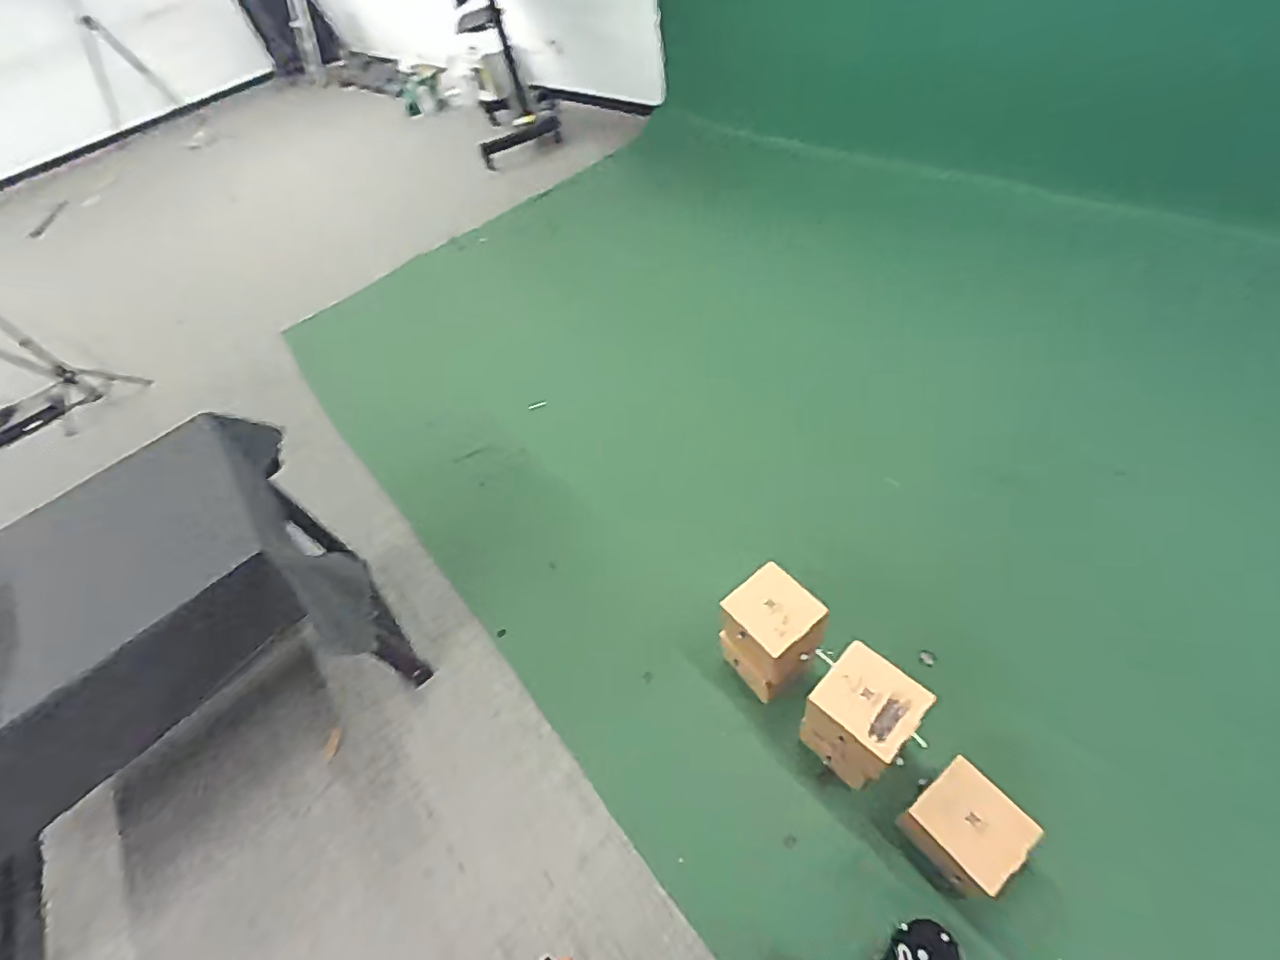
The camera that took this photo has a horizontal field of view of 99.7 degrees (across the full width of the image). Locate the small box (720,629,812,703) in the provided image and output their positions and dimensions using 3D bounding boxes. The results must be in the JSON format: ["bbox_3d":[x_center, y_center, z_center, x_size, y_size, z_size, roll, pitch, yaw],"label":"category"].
[{"bbox_3d":[0.330,0.441,1.393,0.179,0.176,0.168,-34,51,-15],"label":"small box"}]

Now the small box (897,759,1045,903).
[{"bbox_3d":[0.655,0.710,1.095,0.168,0.176,0.179,-35,52,-15],"label":"small box"}]

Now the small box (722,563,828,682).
[{"bbox_3d":[0.312,0.337,1.266,0.168,0.176,0.179,-35,51,-15],"label":"small box"}]
